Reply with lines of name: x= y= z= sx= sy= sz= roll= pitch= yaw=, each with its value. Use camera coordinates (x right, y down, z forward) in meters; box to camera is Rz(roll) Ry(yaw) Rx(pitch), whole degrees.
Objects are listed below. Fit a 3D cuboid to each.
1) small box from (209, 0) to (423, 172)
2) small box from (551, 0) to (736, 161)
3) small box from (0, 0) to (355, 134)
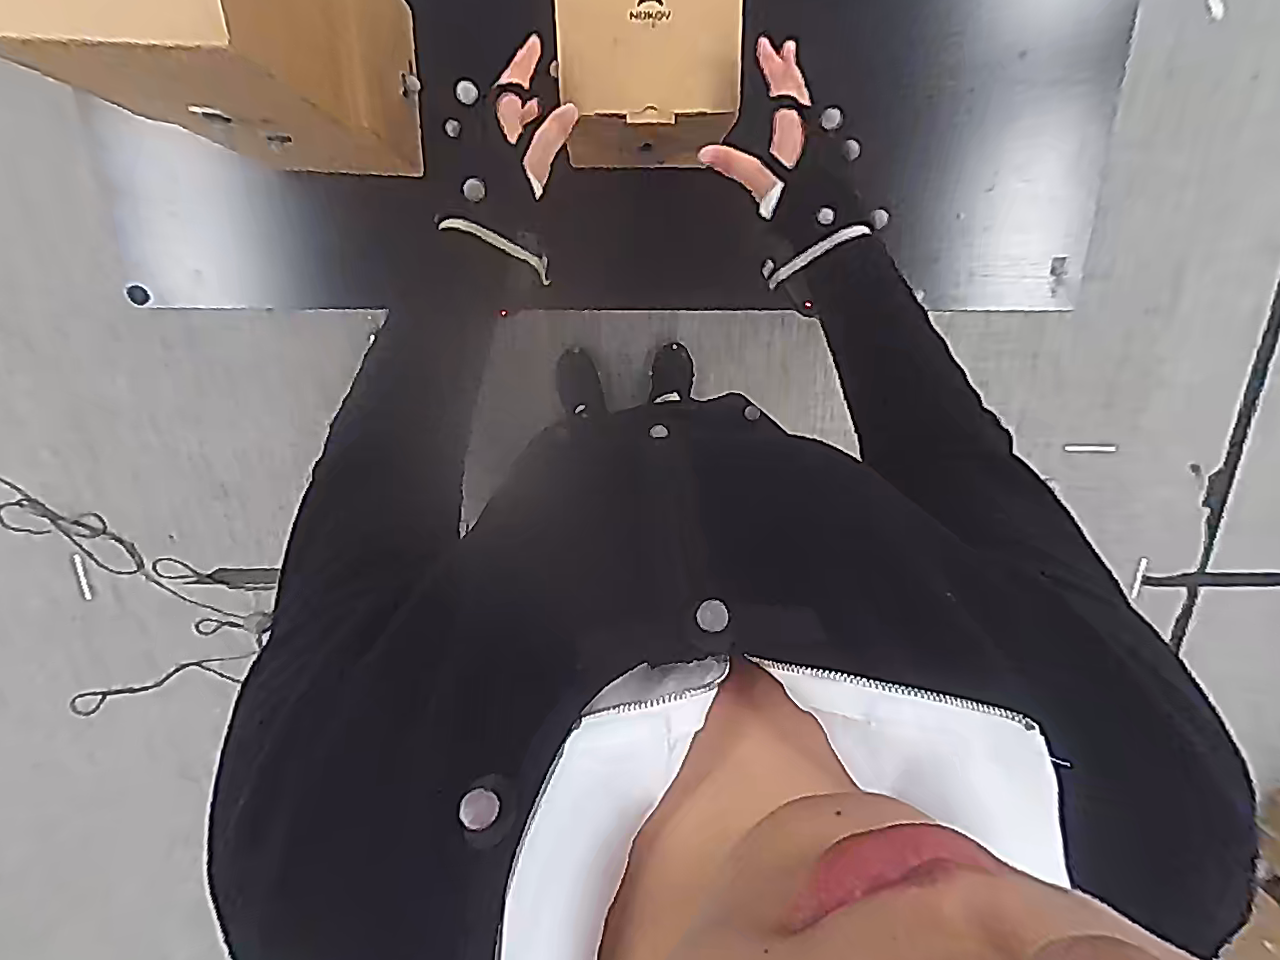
small box: x=-0.335 y=-0.419 z=0.535 sx=0.179 sy=0.176 sz=0.168 roll=0 pitch=106 yaw=-4
small box: x=0.001 y=-0.440 z=0.549 sx=0.168 sy=0.176 sz=0.179 roll=-2 pitch=106 yaw=-2
small box: x=-0.328 y=-0.372 z=0.379 sx=0.168 sy=0.176 sz=0.179 roll=0 pitch=107 yaw=-2
